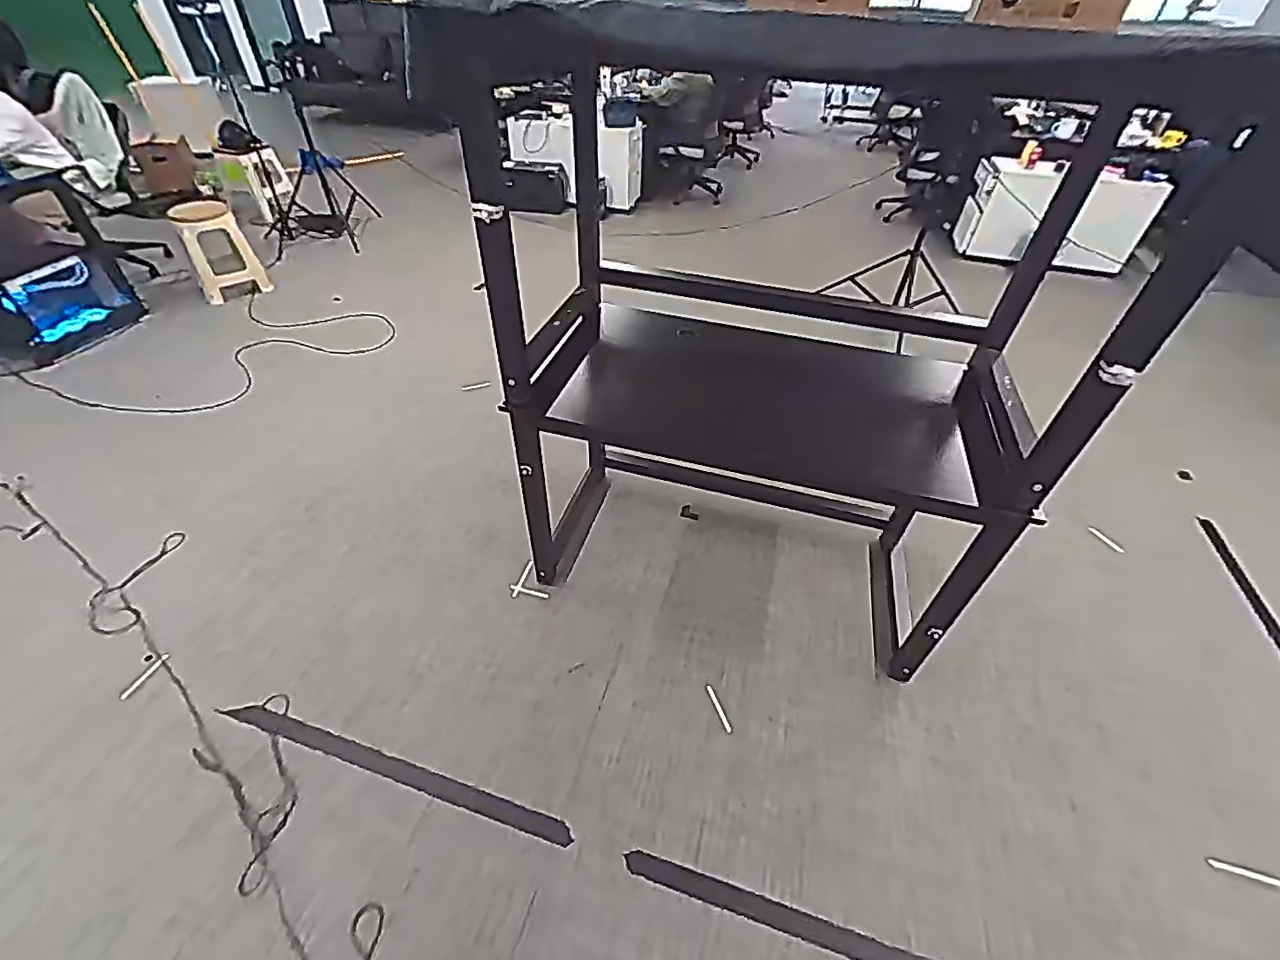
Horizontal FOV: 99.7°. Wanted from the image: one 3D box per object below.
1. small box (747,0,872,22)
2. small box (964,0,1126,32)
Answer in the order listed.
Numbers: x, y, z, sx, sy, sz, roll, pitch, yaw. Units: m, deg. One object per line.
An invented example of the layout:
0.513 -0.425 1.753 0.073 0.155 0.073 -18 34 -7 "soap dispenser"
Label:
0.251 -0.747 0.742 0.168 0.176 0.179 13 42 12 "small box"
0.539 -0.683 0.689 0.168 0.176 0.179 16 43 14 "small box"
